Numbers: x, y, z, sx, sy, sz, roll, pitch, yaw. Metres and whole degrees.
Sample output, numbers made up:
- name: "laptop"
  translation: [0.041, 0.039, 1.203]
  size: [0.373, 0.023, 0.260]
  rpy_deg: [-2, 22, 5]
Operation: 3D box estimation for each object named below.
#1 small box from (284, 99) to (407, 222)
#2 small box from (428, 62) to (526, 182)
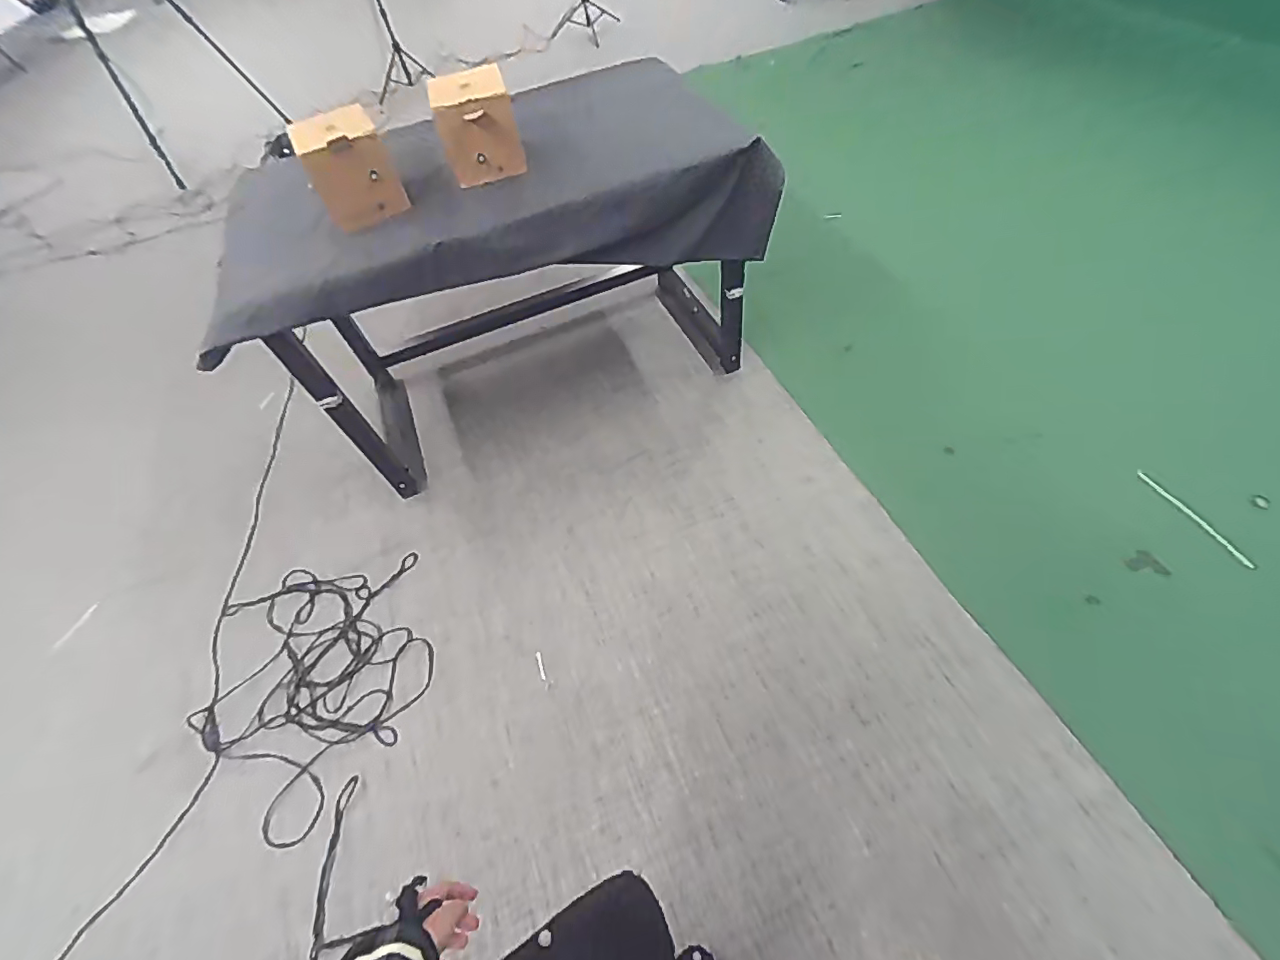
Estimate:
- name: "small box"
  translation: [-0.636, -0.691, 1.181]
  size: [0.168, 0.176, 0.179]
  rpy_deg: [-28, 55, -13]
- name: "small box"
  translation: [-0.369, -0.815, 1.234]
  size: [0.168, 0.176, 0.179]
  rpy_deg: [-16, 55, -5]
